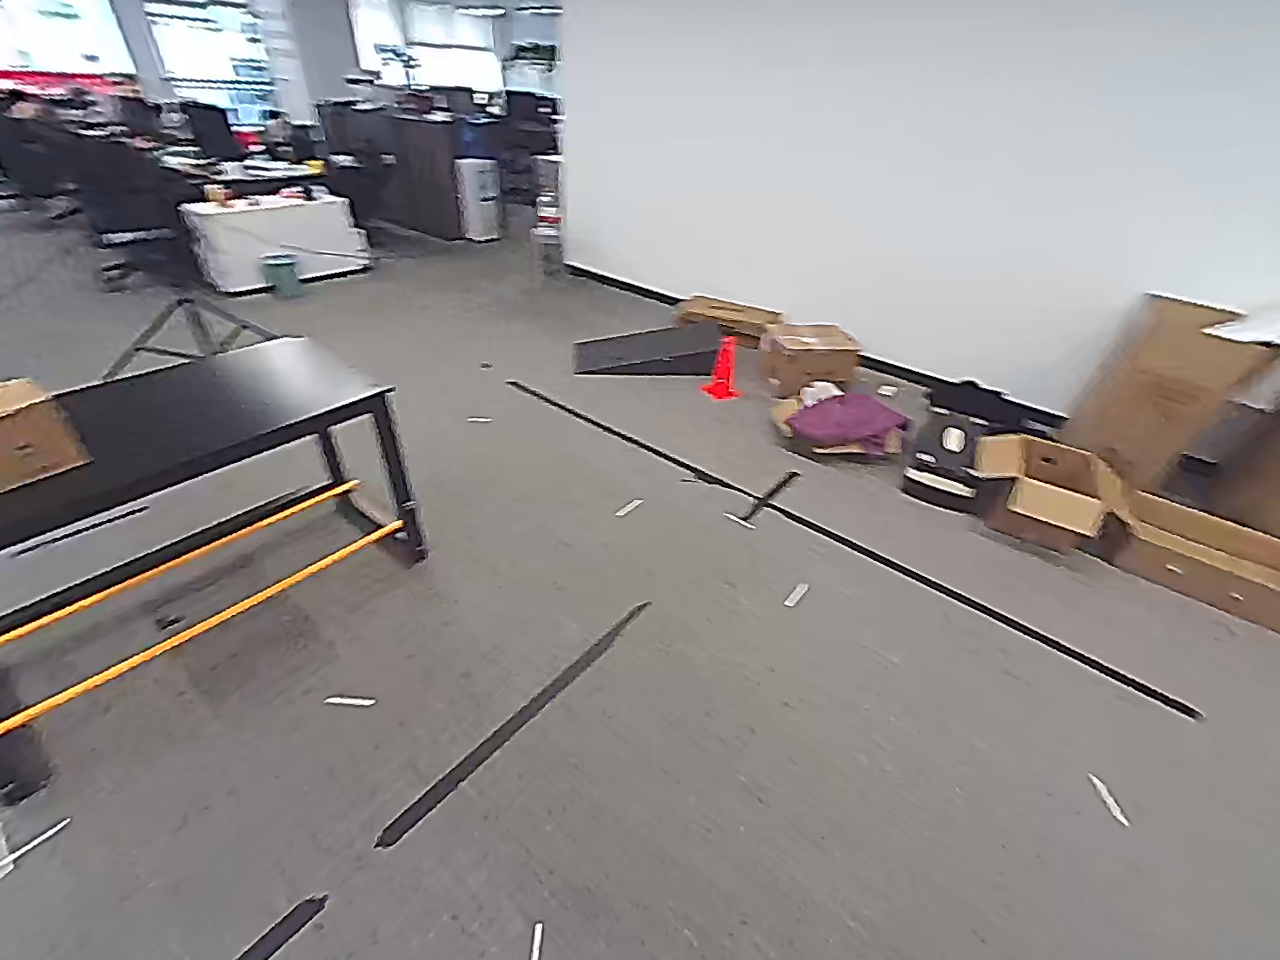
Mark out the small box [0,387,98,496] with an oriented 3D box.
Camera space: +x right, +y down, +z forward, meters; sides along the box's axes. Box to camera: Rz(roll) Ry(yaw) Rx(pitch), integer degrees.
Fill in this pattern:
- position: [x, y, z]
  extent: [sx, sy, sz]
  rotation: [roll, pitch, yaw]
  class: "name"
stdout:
- position: [-1.411, -0.086, 1.240]
  extent: [0.179, 0.176, 0.168]
  rotation: [24, 41, 25]
  class: "small box"
